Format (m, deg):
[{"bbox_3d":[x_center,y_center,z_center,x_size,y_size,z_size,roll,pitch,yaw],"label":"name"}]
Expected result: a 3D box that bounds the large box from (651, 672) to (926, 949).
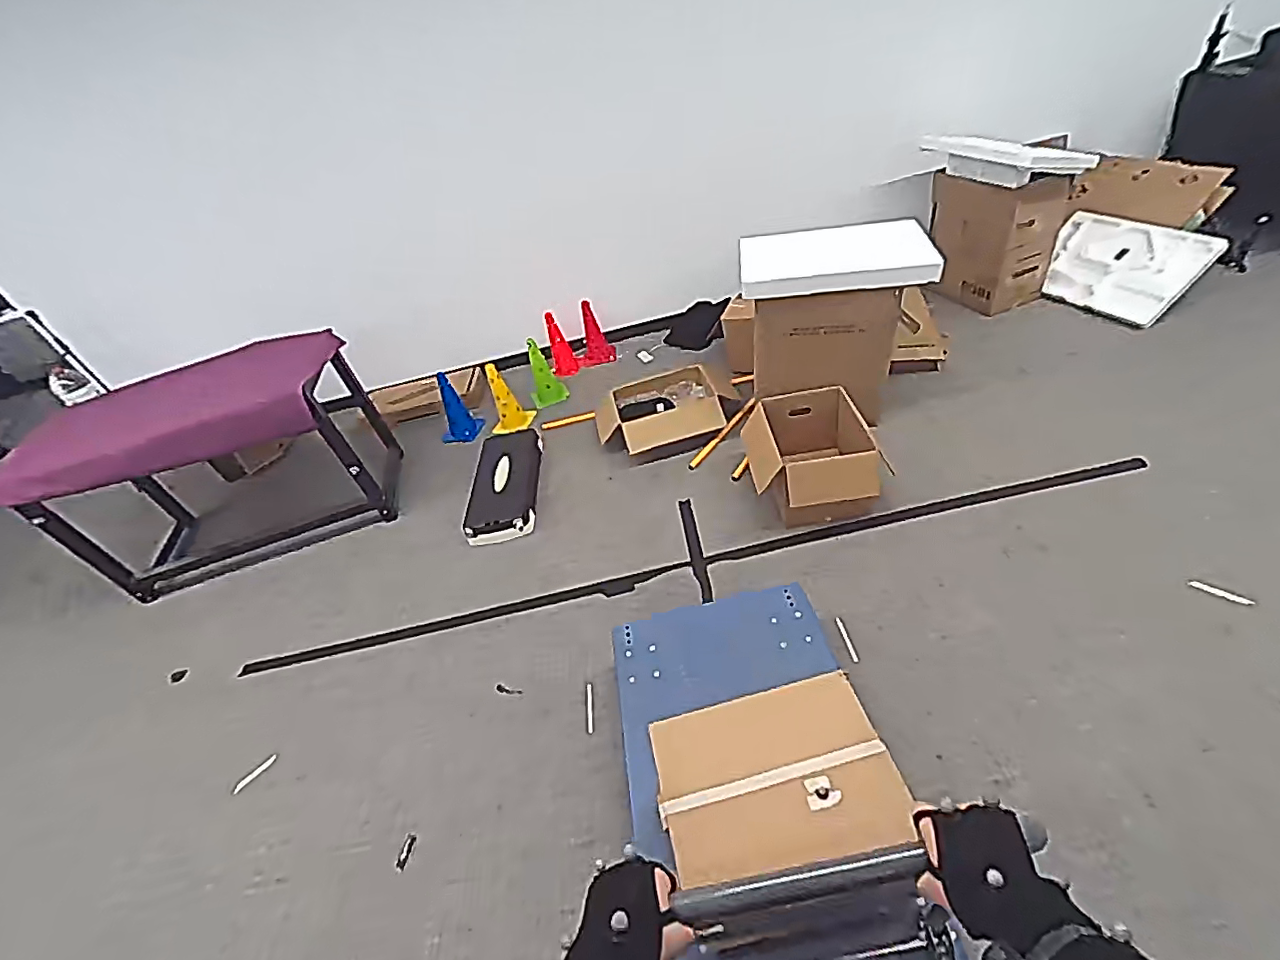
[{"bbox_3d":[0.265,0.643,1.061,0.408,0.320,0.320,-15,40,-2],"label":"large box"}]
